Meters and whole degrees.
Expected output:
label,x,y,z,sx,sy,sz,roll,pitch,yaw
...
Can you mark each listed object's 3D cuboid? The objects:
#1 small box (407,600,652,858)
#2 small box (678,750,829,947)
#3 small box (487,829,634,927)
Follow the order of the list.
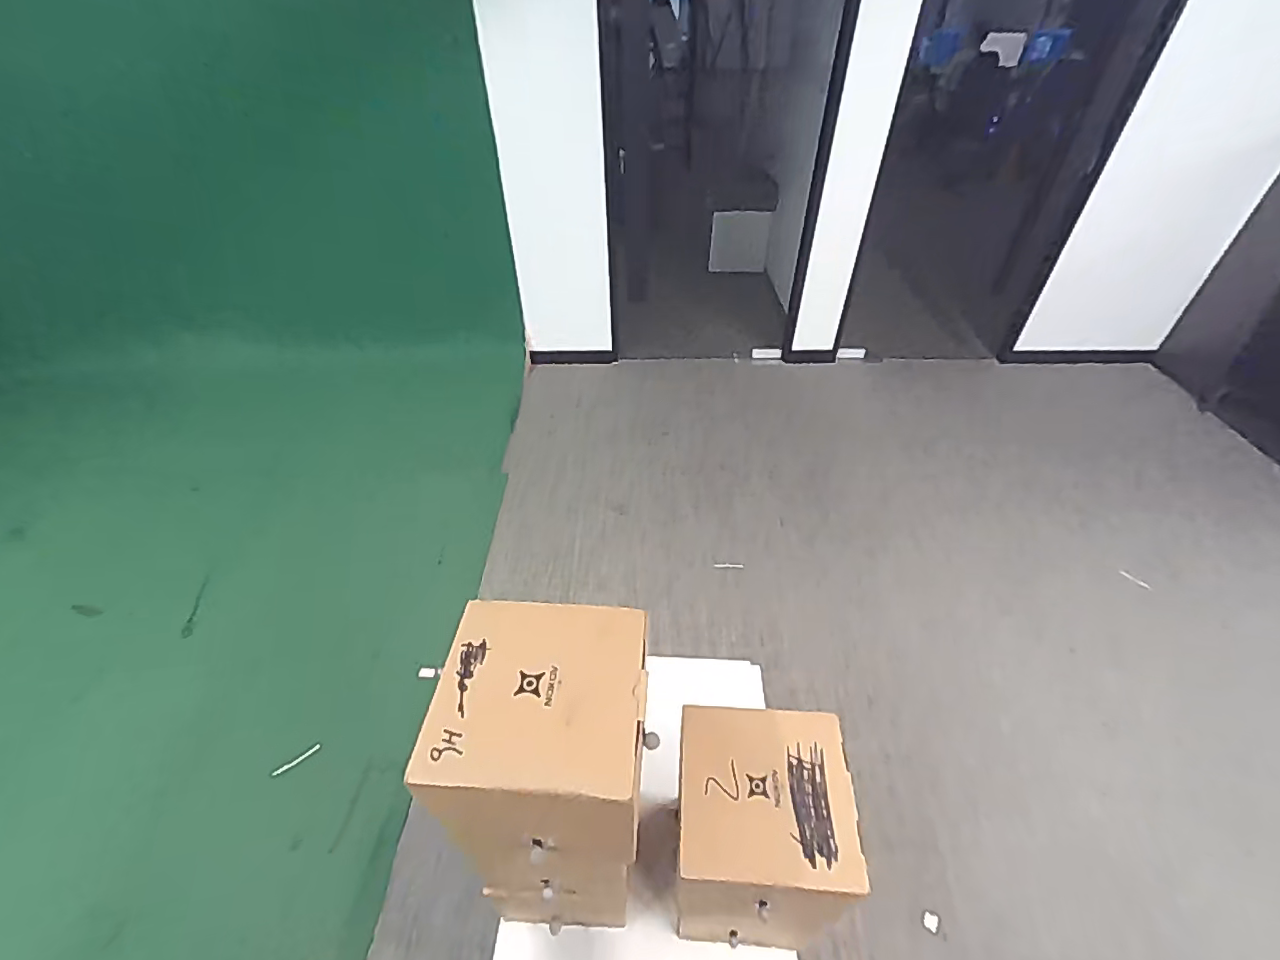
label,x,y,z,sx,sy,sz,roll,pitch,yaw
small box,-0.084,0.237,0.512,0.179,0.176,0.168,4,42,3
small box,0.137,0.489,0.721,0.168,0.176,0.179,2,42,4
small box,-0.094,0.478,0.736,0.168,0.176,0.179,2,43,2
